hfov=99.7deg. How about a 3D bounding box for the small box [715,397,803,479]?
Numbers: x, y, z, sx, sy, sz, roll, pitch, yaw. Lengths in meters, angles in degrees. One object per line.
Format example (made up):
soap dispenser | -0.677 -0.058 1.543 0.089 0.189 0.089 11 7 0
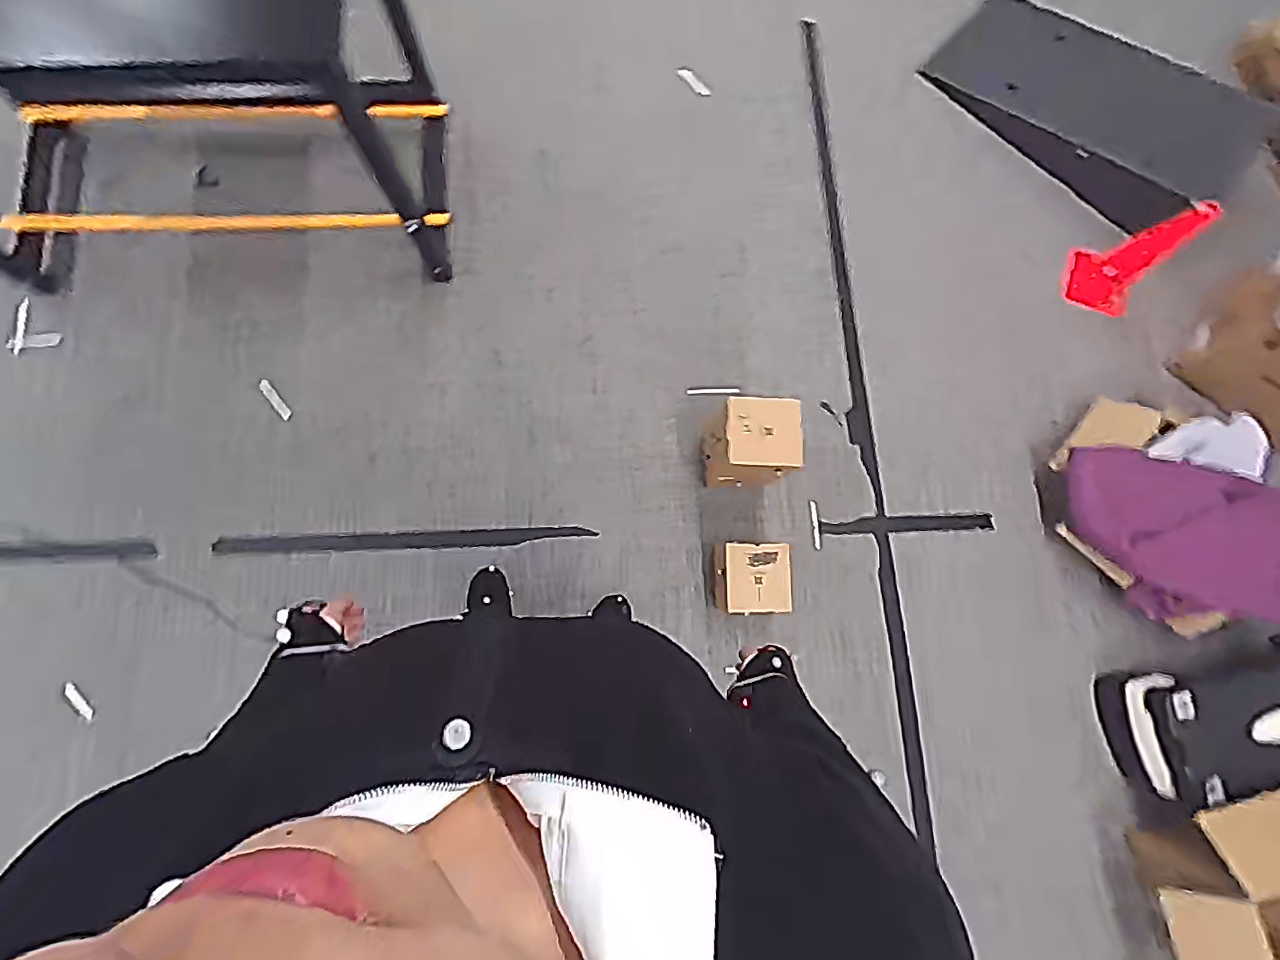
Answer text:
small box | 0.291 -0.097 1.344 0.179 0.176 0.168 3 79 -2

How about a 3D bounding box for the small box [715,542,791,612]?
small box | 0.296 0.260 1.451 0.168 0.176 0.179 1 81 -3

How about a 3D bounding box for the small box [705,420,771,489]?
small box | 0.279 -0.070 1.507 0.179 0.176 0.168 -3 80 -3
